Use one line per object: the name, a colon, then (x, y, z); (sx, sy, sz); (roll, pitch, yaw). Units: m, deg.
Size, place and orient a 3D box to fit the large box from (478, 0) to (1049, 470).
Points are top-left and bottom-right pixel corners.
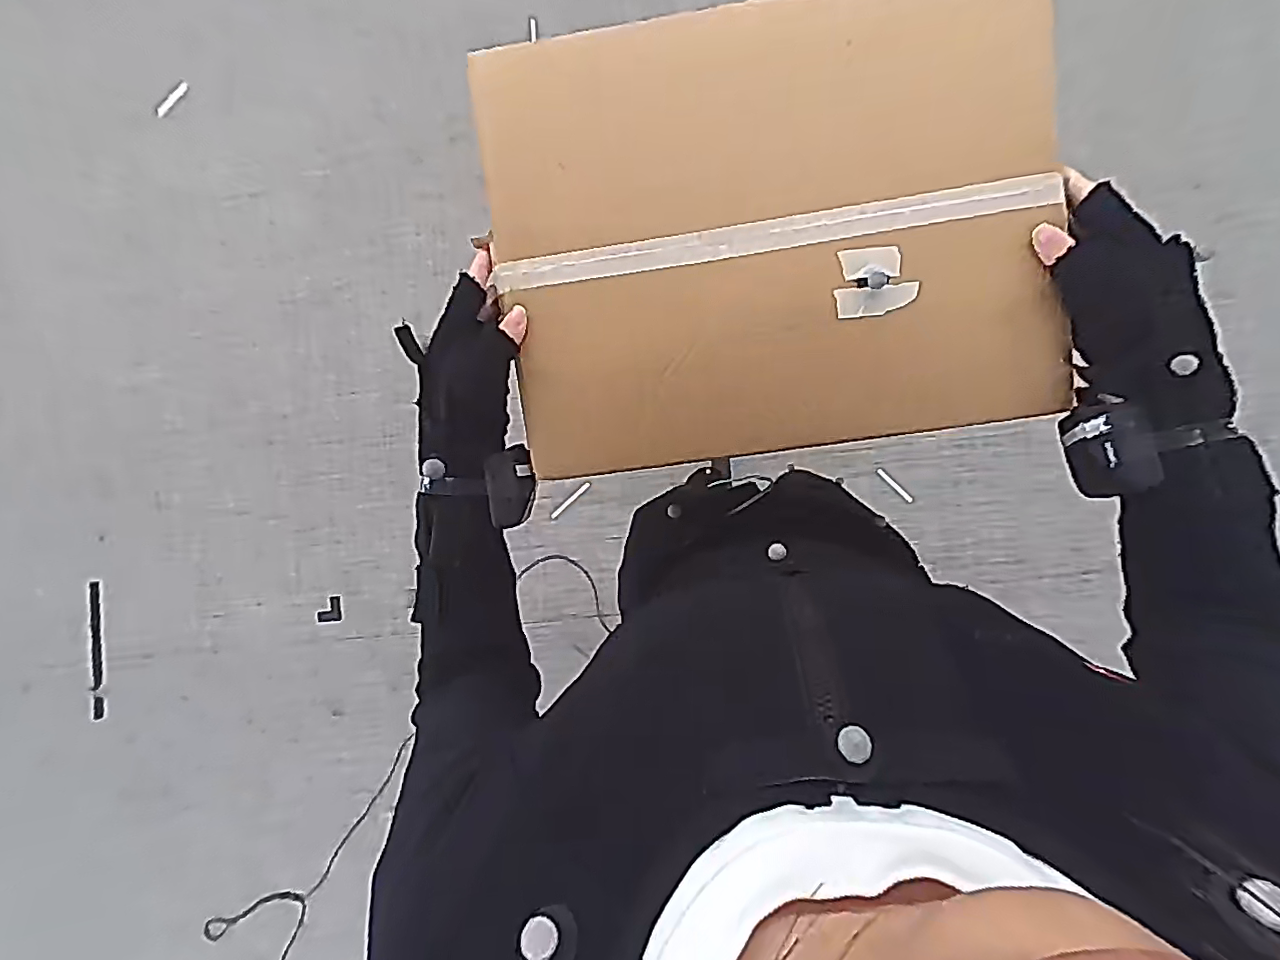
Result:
large box: (0.099, -0.203, 0.555); (0.408, 0.320, 0.320); (-8, 97, 3)
